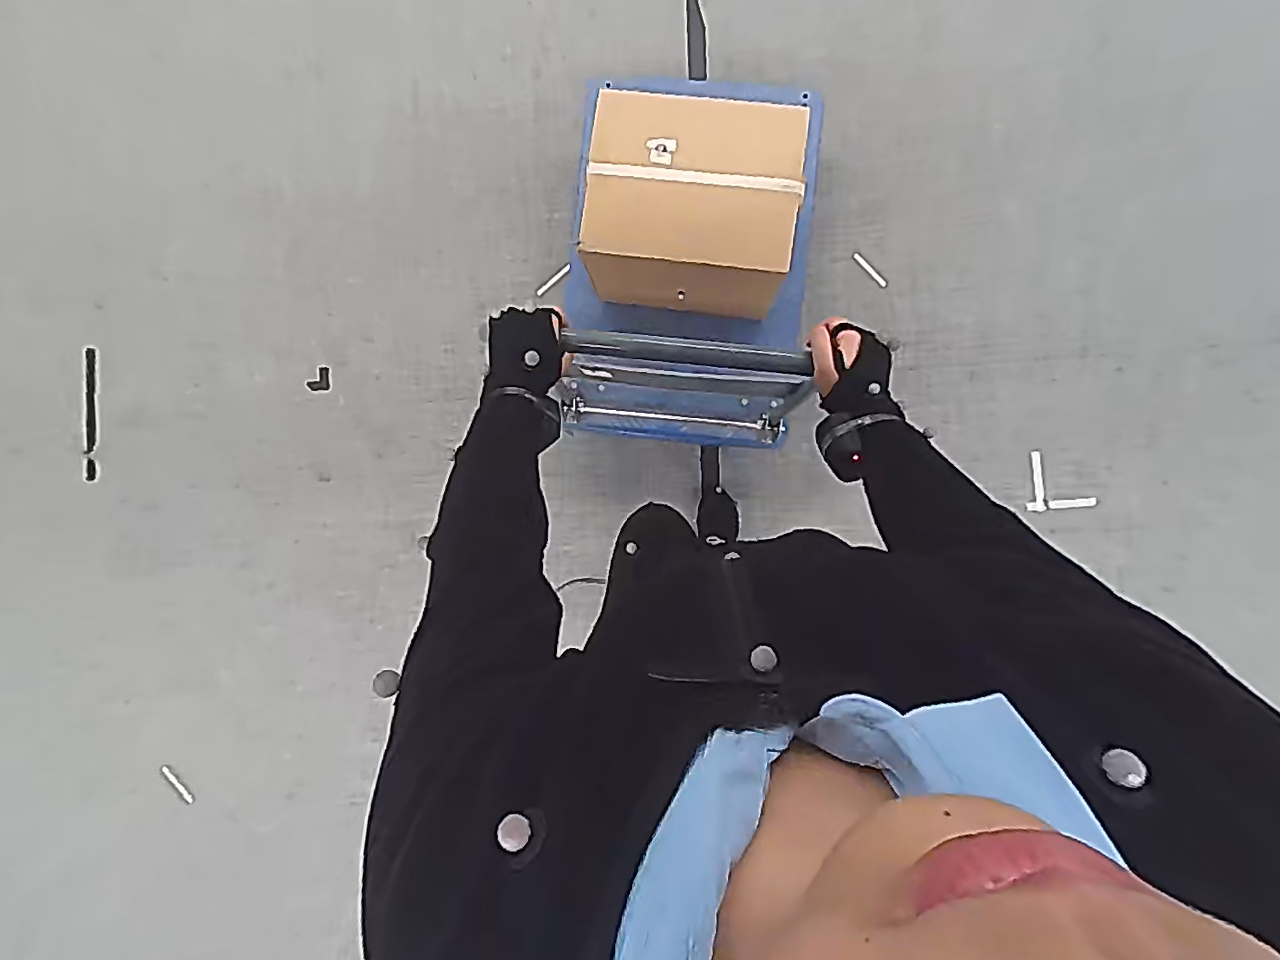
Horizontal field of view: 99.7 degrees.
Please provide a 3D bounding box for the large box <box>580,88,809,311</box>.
[{"bbox_3d":[0.114,-0.570,1.155,0.408,0.320,0.320,8,90,6],"label":"large box"}]
